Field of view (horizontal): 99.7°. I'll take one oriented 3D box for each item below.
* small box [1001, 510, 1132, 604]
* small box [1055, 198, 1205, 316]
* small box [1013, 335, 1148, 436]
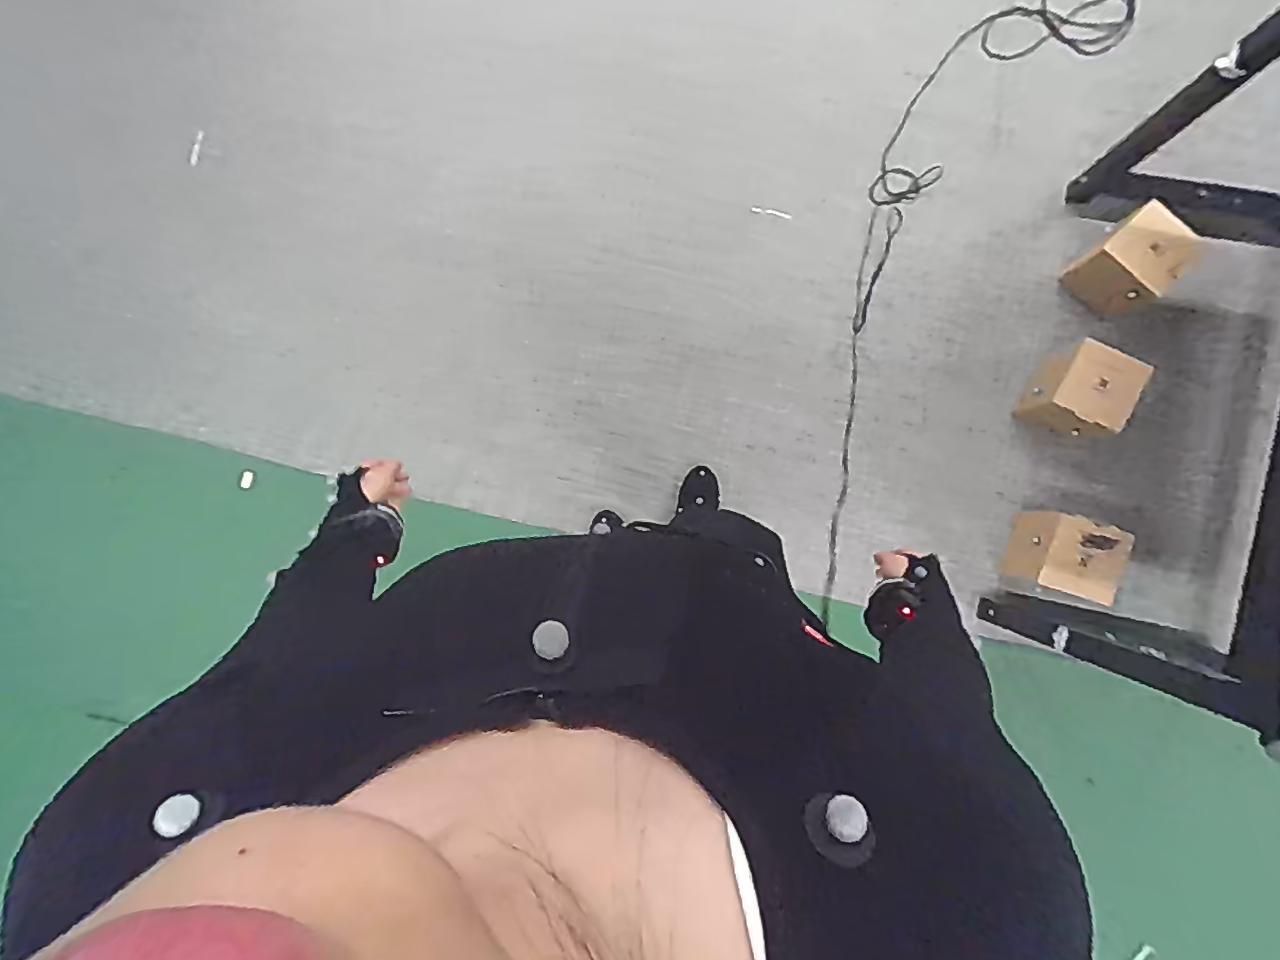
[{"bbox_3d":[1.021,0.178,1.312,0.168,0.176,0.179,18,90,6],"label":"small box"},{"bbox_3d":[1.191,-0.538,1.332,0.168,0.176,0.179,-45,85,1],"label":"small box"},{"bbox_3d":[1.066,-0.222,1.327,0.168,0.176,0.179,26,88,5],"label":"small box"}]
